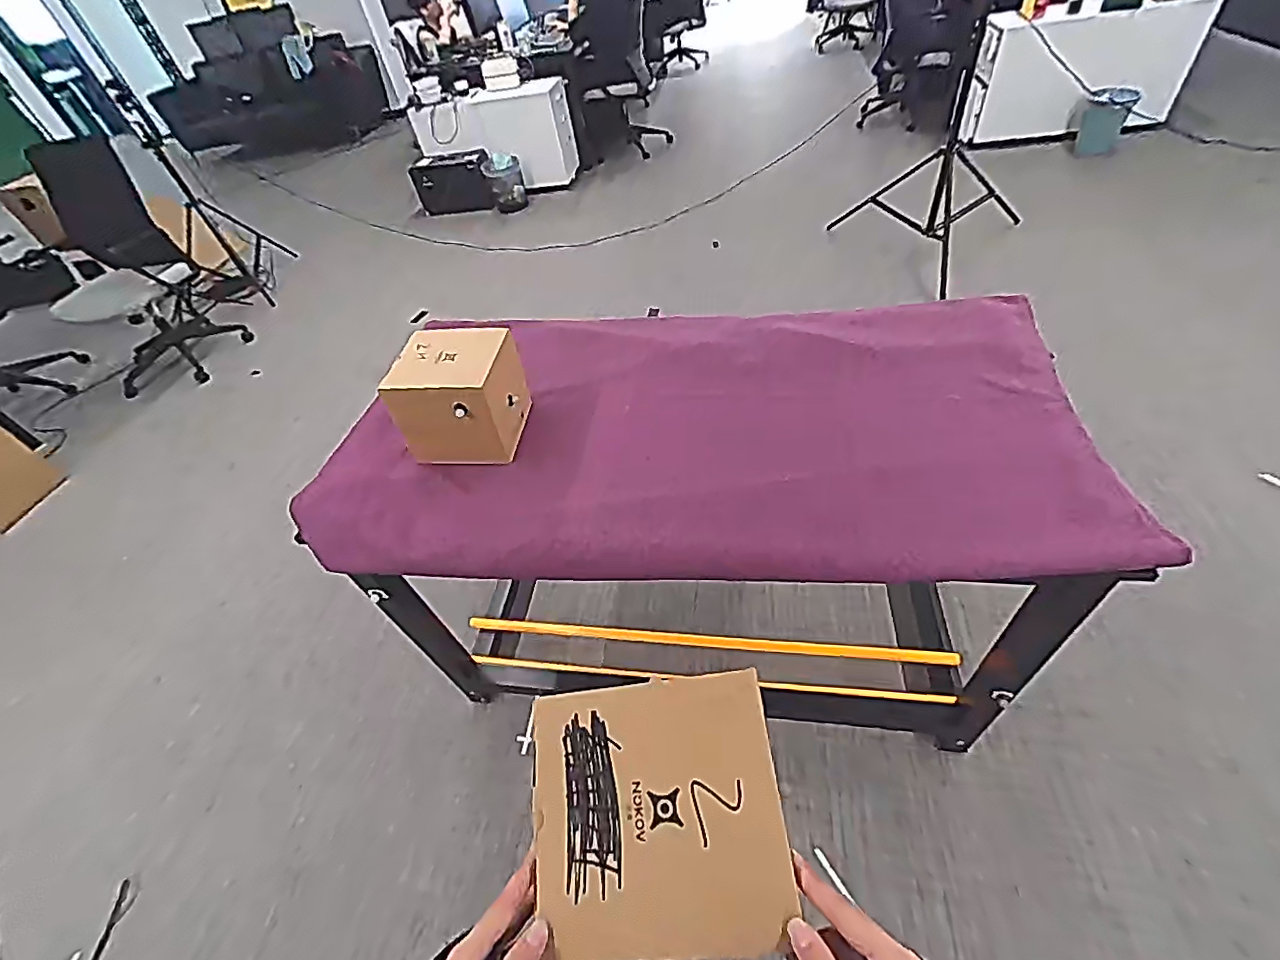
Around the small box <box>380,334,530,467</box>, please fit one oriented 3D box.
[{"bbox_3d":[-0.305,-0.136,0.942,0.179,0.176,0.168,0,47,8],"label":"small box"}]
